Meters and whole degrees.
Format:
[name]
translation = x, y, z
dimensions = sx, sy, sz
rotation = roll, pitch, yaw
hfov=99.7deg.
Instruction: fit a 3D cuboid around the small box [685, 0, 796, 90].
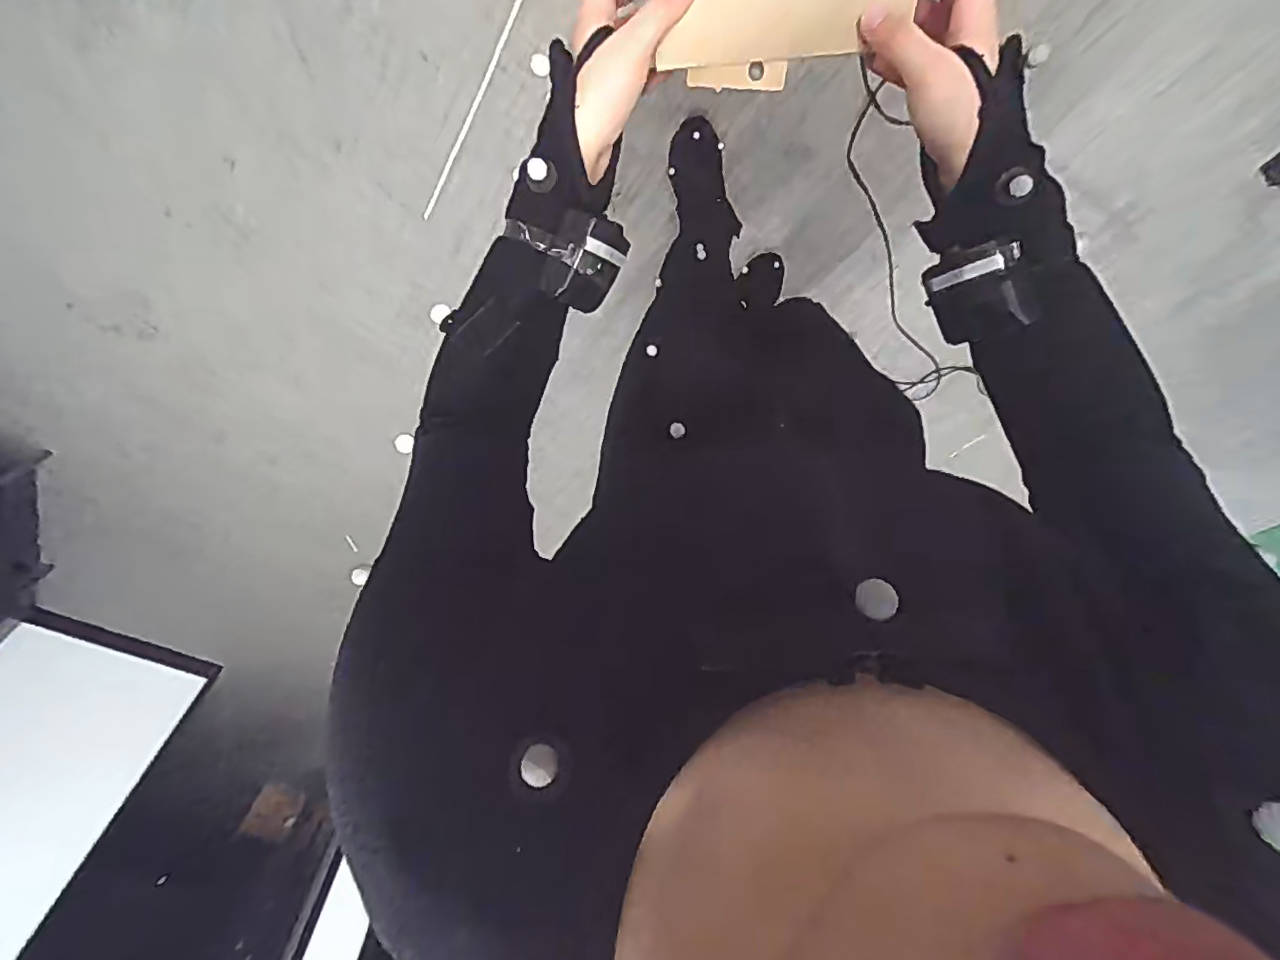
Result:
[small box]
translation = 0.167, -0.785, 0.917
dimensions = 0.168, 0.176, 0.179
rotation = 4, 132, 2
